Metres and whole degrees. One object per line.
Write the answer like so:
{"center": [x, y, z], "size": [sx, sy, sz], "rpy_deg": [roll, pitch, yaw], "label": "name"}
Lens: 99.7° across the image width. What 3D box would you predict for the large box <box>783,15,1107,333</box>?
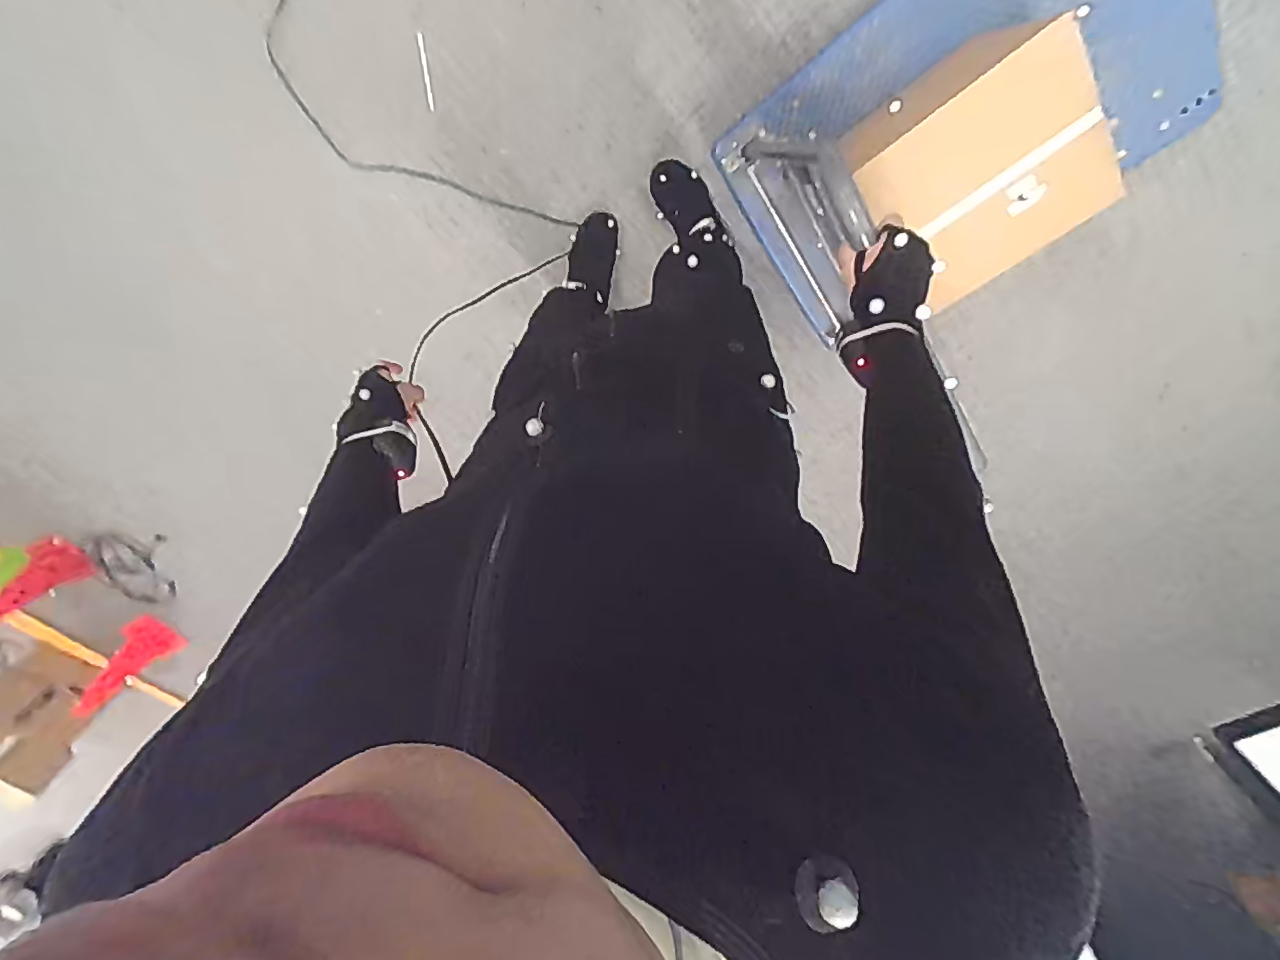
{"center": [0.556, -0.567, 1.058], "size": [0.408, 0.320, 0.320], "rpy_deg": [-33, 117, 20], "label": "large box"}
